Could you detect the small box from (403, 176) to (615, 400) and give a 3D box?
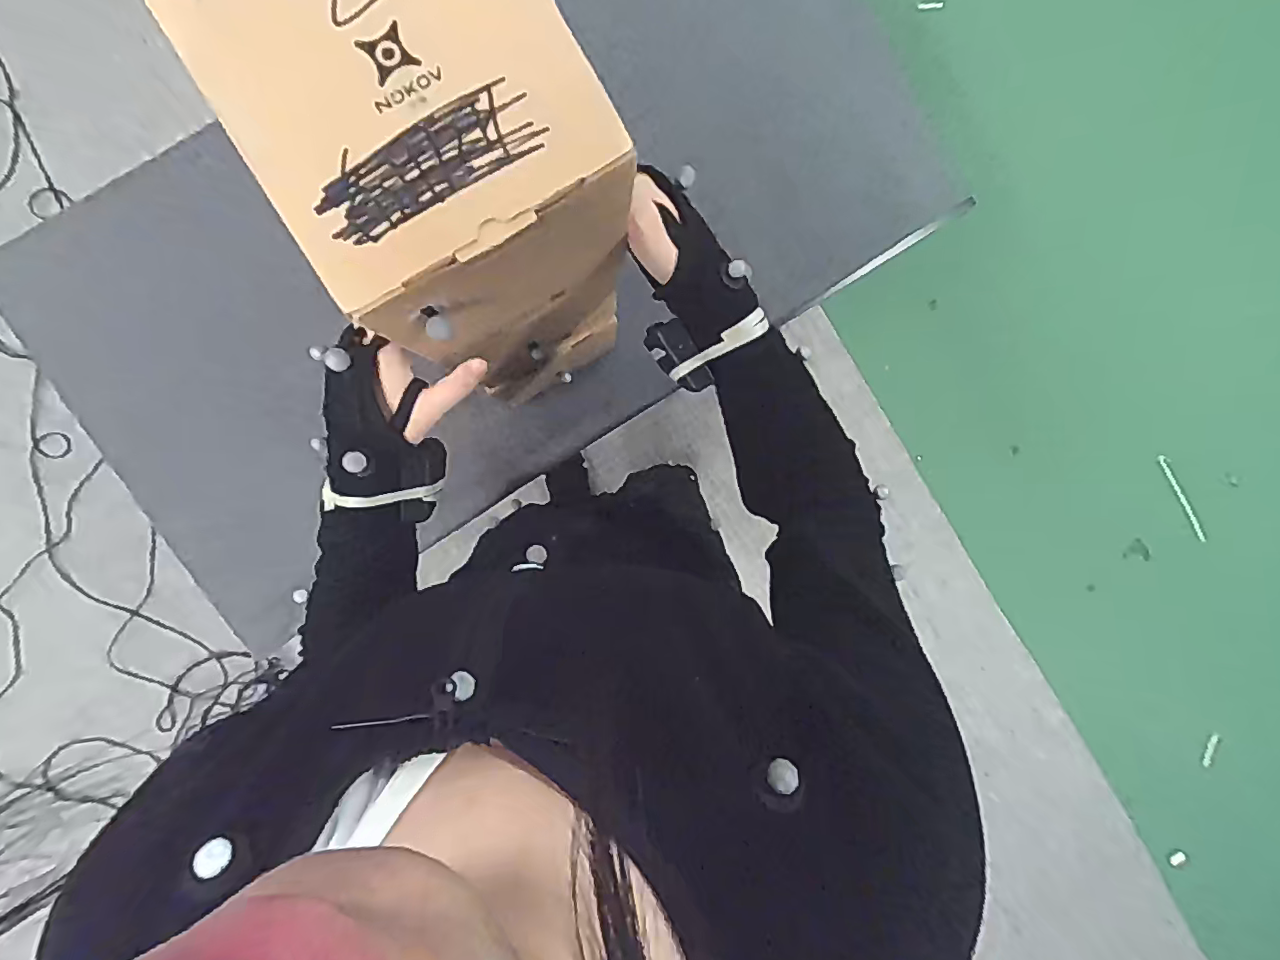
[{"bbox_3d":[-0.145,-0.214,0.656,0.168,0.176,0.179,-32,95,-2],"label":"small box"}]
